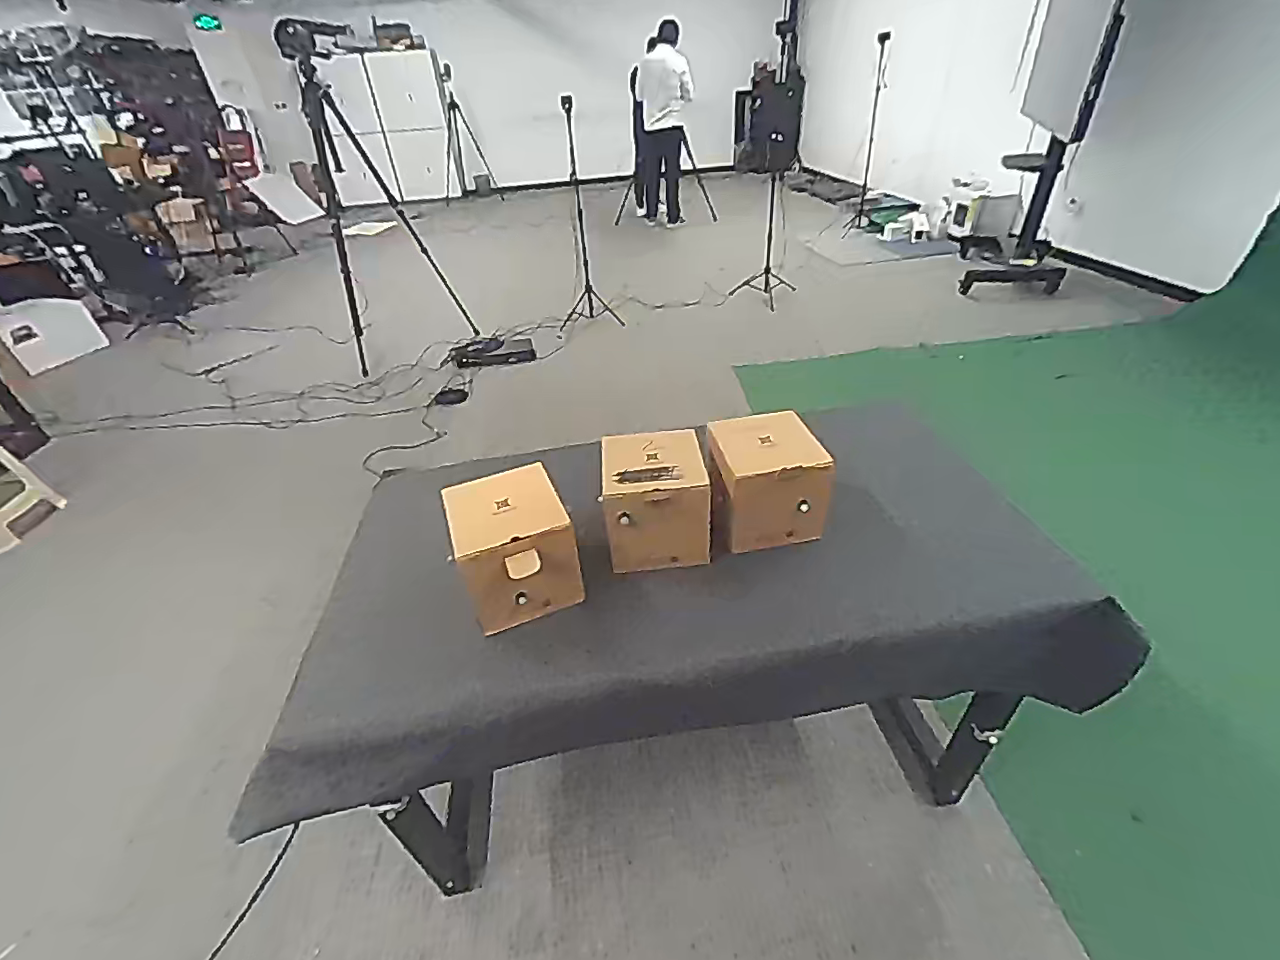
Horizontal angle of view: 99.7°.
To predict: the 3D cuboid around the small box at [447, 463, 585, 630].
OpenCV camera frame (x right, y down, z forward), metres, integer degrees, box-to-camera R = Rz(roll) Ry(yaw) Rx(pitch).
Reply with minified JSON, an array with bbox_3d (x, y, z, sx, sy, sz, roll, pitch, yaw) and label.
[{"bbox_3d":[-0.196,0.103,0.862,0.168,0.176,0.179,-17,38,-17],"label":"small box"}]
